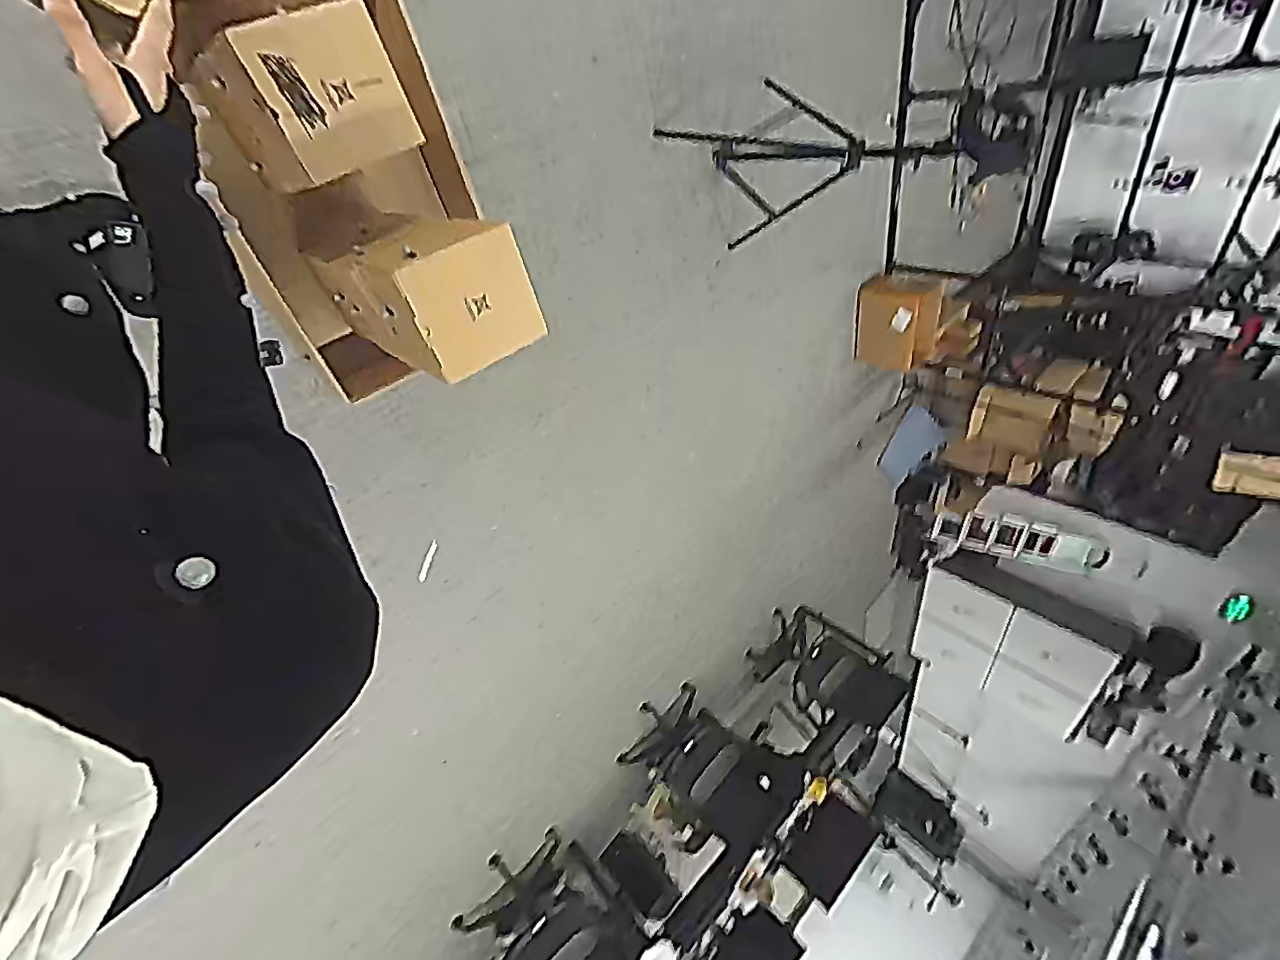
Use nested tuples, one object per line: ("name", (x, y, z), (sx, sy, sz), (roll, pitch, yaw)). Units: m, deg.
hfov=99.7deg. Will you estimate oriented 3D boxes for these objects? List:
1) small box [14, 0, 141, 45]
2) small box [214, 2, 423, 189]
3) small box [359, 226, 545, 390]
("small box", (-0.479, -0.486, 0.413), (0.168, 0.176, 0.179), (20, 95, -53))
("small box", (-0.443, -0.517, 0.744), (0.179, 0.176, 0.168), (-41, 135, -24))
("small box", (-0.276, -0.263, 0.799), (0.179, 0.176, 0.168), (-37, 132, -23))
